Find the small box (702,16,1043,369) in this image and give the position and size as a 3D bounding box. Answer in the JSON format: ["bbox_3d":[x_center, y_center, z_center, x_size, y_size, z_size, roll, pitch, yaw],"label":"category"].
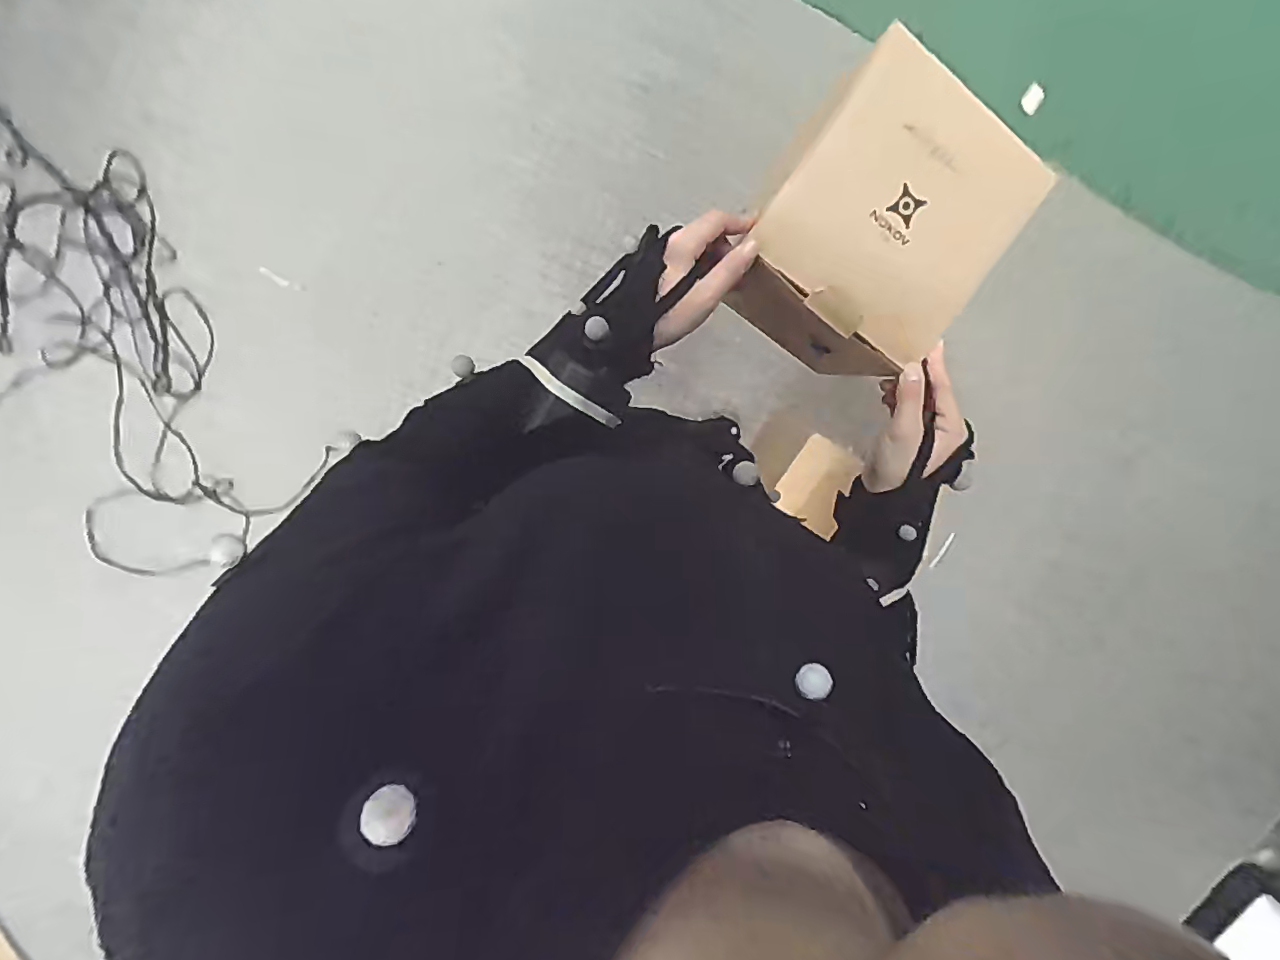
[{"bbox_3d":[0.170,-0.212,0.461,0.168,0.176,0.179,32,97,-12],"label":"small box"}]

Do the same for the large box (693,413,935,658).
[{"bbox_3d":[0.365,0.109,1.246,0.320,0.320,0.408,31,104,-7],"label":"large box"}]
